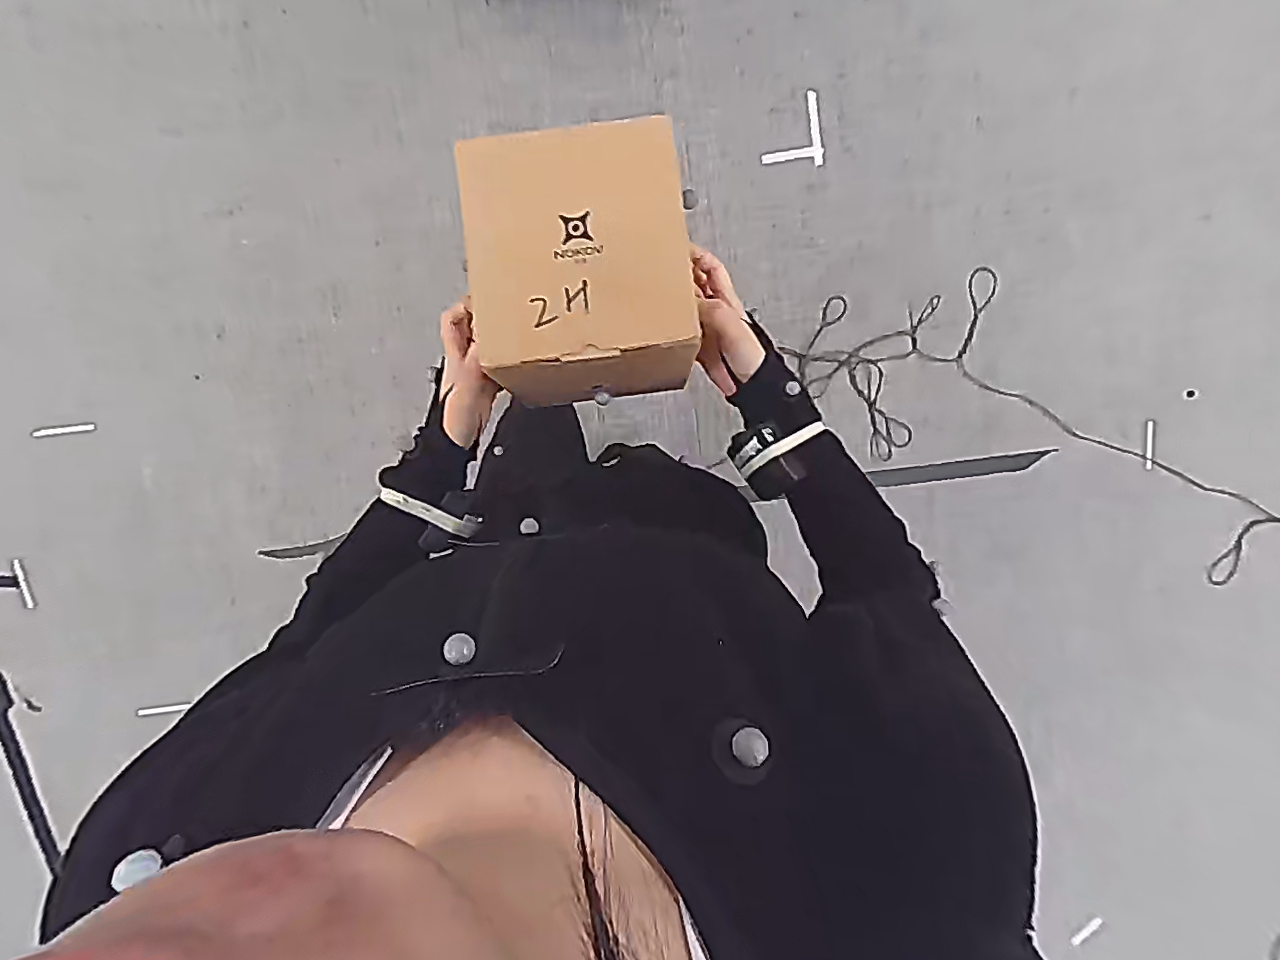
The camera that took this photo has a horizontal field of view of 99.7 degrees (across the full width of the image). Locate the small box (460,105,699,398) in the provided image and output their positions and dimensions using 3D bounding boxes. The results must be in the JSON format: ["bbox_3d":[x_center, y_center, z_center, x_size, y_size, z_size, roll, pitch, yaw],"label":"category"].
[{"bbox_3d":[-0.046,-0.183,0.480,0.168,0.176,0.179,-7,87,1],"label":"small box"}]
